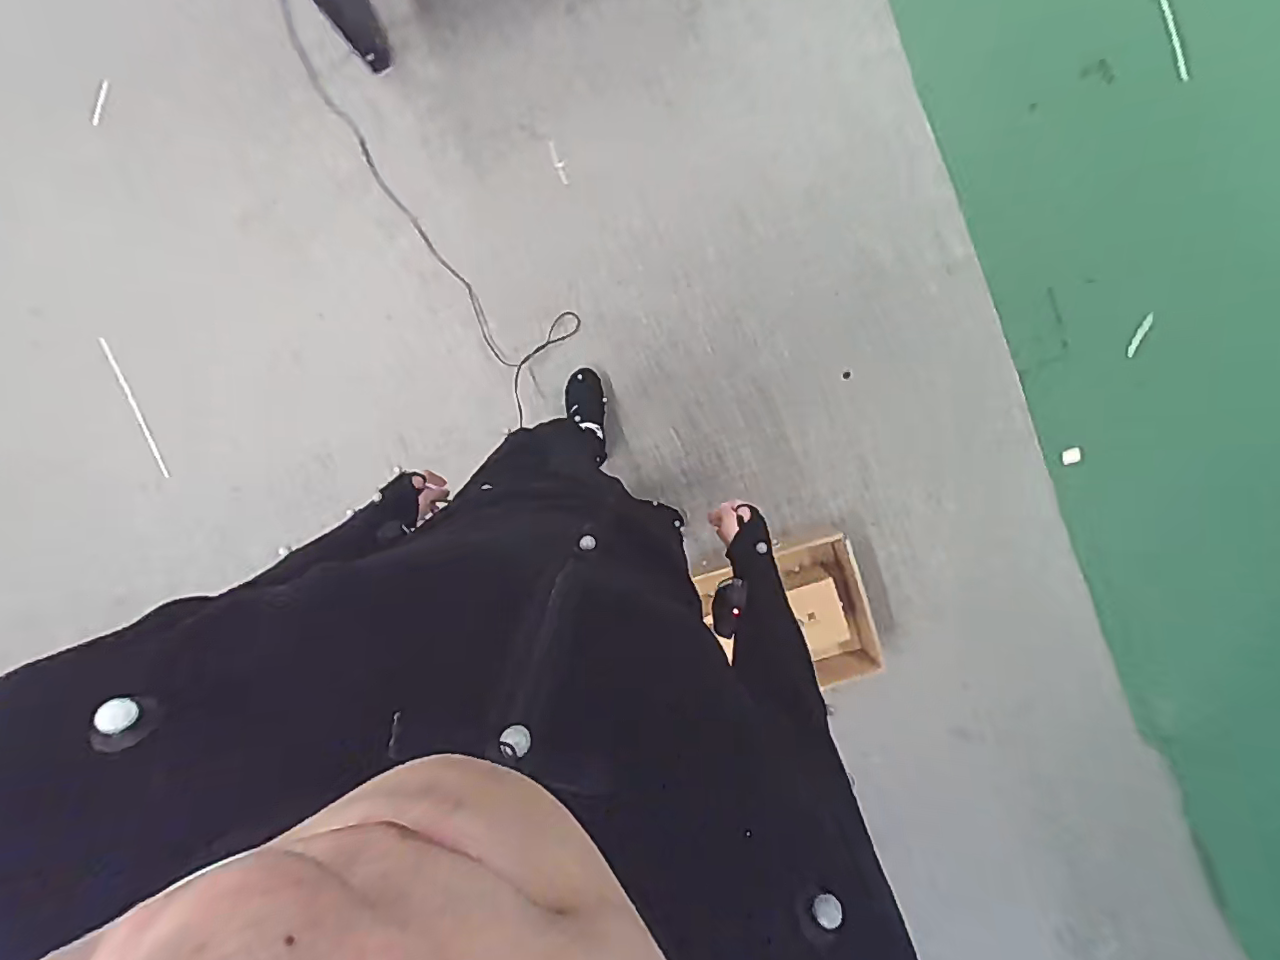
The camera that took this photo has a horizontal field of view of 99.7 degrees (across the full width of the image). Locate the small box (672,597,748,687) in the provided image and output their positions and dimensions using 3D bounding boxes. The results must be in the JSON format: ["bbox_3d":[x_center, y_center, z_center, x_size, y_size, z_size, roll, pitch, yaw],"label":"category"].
[{"bbox_3d":[0.189,0.443,1.511,0.168,0.176,0.179,-18,95,5],"label":"small box"}]
